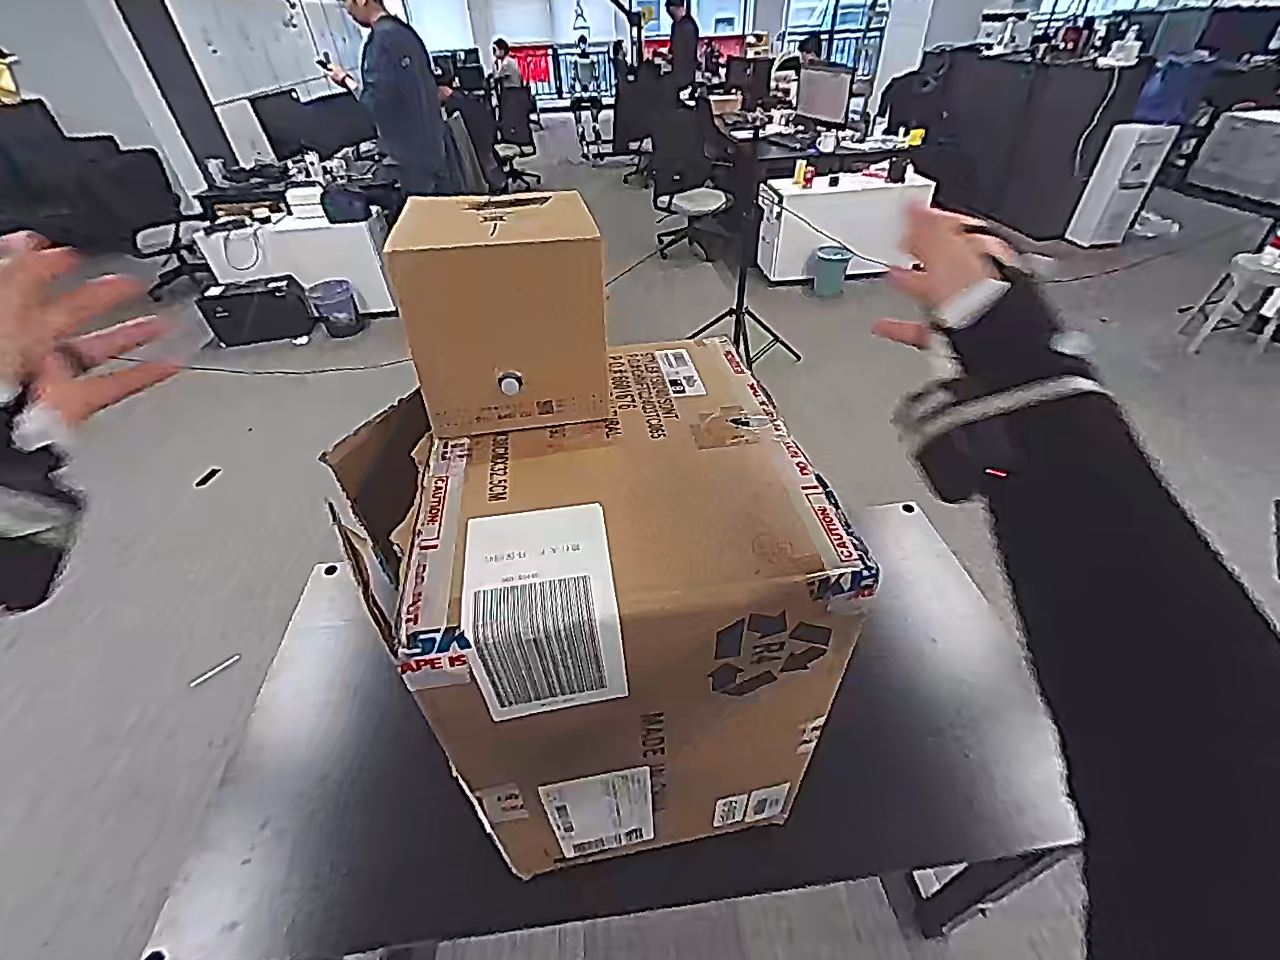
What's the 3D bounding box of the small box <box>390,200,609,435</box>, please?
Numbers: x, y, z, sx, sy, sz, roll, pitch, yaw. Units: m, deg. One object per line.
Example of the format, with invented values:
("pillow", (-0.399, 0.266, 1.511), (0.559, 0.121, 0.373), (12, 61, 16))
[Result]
("small box", (-0.125, -0.164, 0.531), (0.168, 0.176, 0.179), (-8, 39, -9))
